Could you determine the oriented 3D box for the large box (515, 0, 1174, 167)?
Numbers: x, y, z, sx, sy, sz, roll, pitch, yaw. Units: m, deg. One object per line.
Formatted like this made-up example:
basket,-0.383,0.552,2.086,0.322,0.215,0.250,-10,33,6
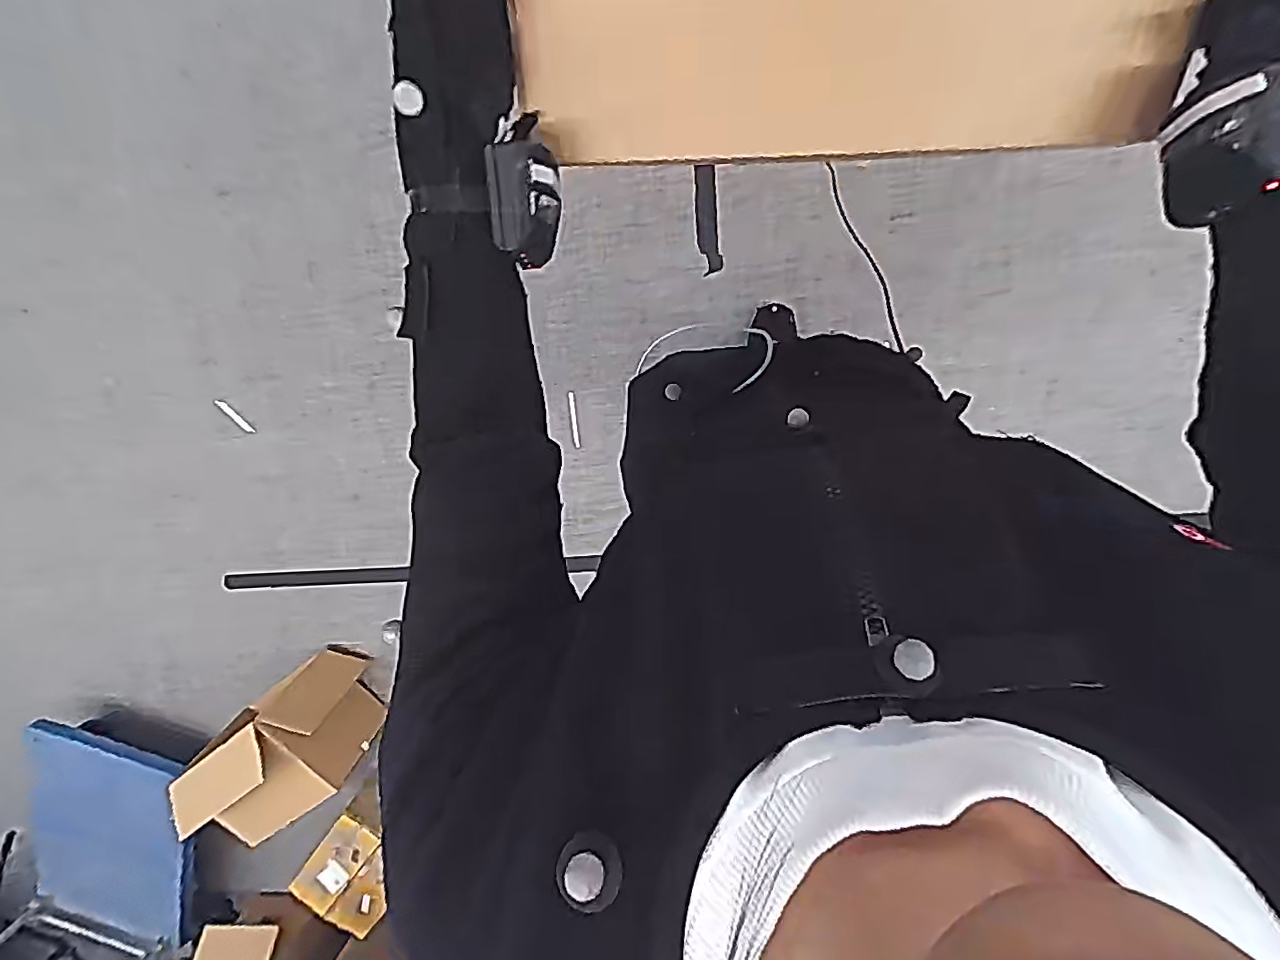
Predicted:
large box,0.120,-0.435,0.419,0.408,0.320,0.320,-1,120,4
